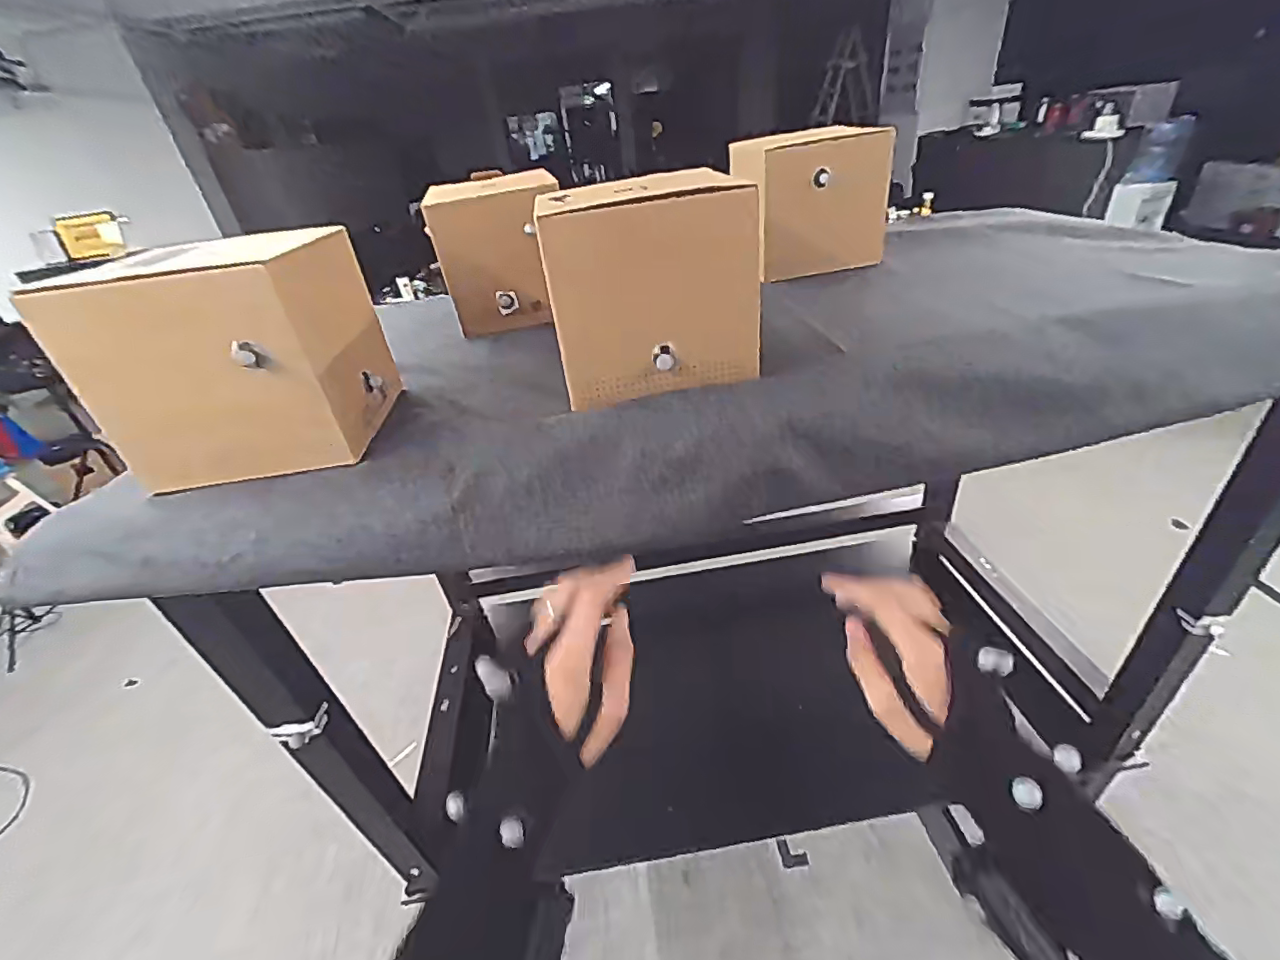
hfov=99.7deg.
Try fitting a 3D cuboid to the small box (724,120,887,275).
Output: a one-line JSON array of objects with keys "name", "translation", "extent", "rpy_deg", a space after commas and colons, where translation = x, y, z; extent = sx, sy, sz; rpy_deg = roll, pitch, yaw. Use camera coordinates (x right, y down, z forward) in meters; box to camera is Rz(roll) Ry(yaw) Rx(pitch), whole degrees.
[{"name": "small box", "translation": [0.230, -0.409, 0.786], "extent": [0.179, 0.176, 0.168], "rpy_deg": [-10, 34, -2]}]

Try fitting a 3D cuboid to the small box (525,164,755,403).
[{"name": "small box", "translation": [-0.002, -0.188, 0.509], "extent": [0.179, 0.176, 0.168], "rpy_deg": [-10, 32, -4]}]

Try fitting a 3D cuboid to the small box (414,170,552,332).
[{"name": "small box", "translation": [-0.193, -0.319, 0.748], "extent": [0.168, 0.176, 0.179], "rpy_deg": [-15, 34, -7]}]
